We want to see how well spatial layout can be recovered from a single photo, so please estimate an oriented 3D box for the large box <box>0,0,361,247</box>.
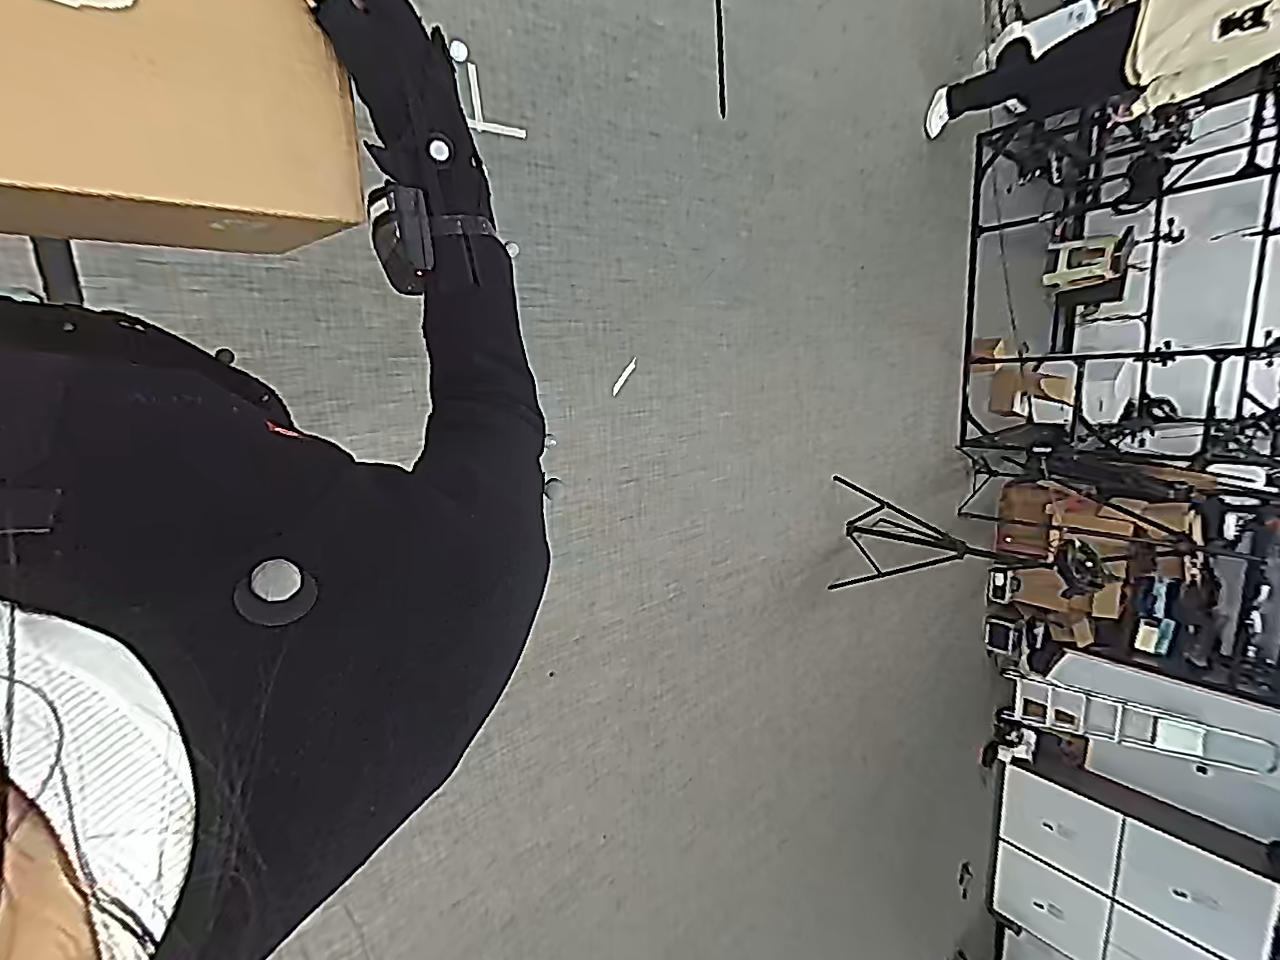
[{"bbox_3d":[-0.456,-0.334,0.338,0.408,0.320,0.320,-15,114,-41],"label":"large box"}]
